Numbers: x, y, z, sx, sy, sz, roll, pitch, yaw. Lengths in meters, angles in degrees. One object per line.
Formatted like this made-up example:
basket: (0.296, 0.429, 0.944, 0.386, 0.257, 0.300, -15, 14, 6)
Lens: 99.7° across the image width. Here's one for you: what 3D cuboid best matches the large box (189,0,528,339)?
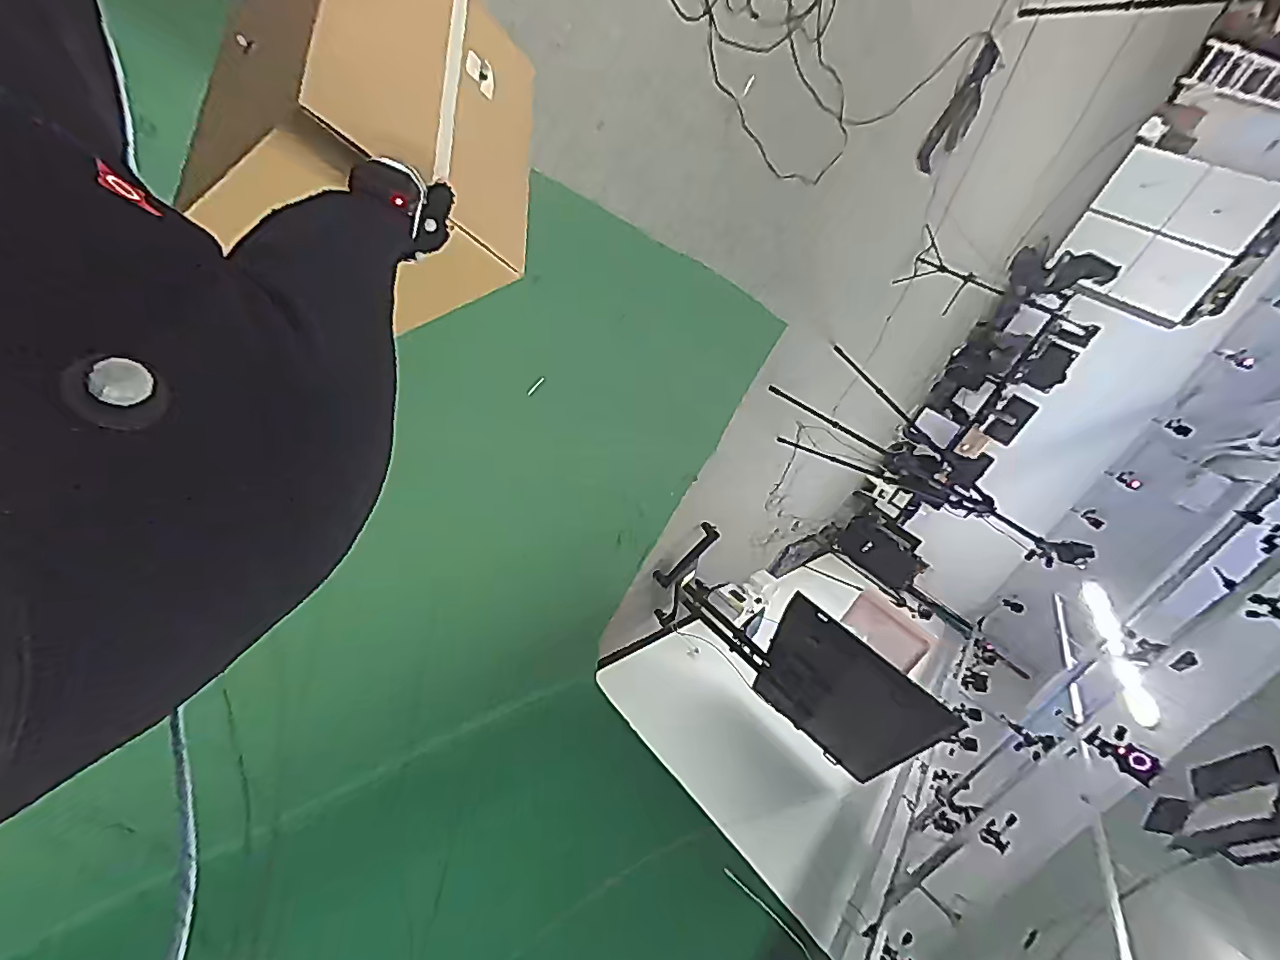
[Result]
large box: (-0.384, -0.484, 0.789, 0.320, 0.320, 0.408, 23, 60, -55)
